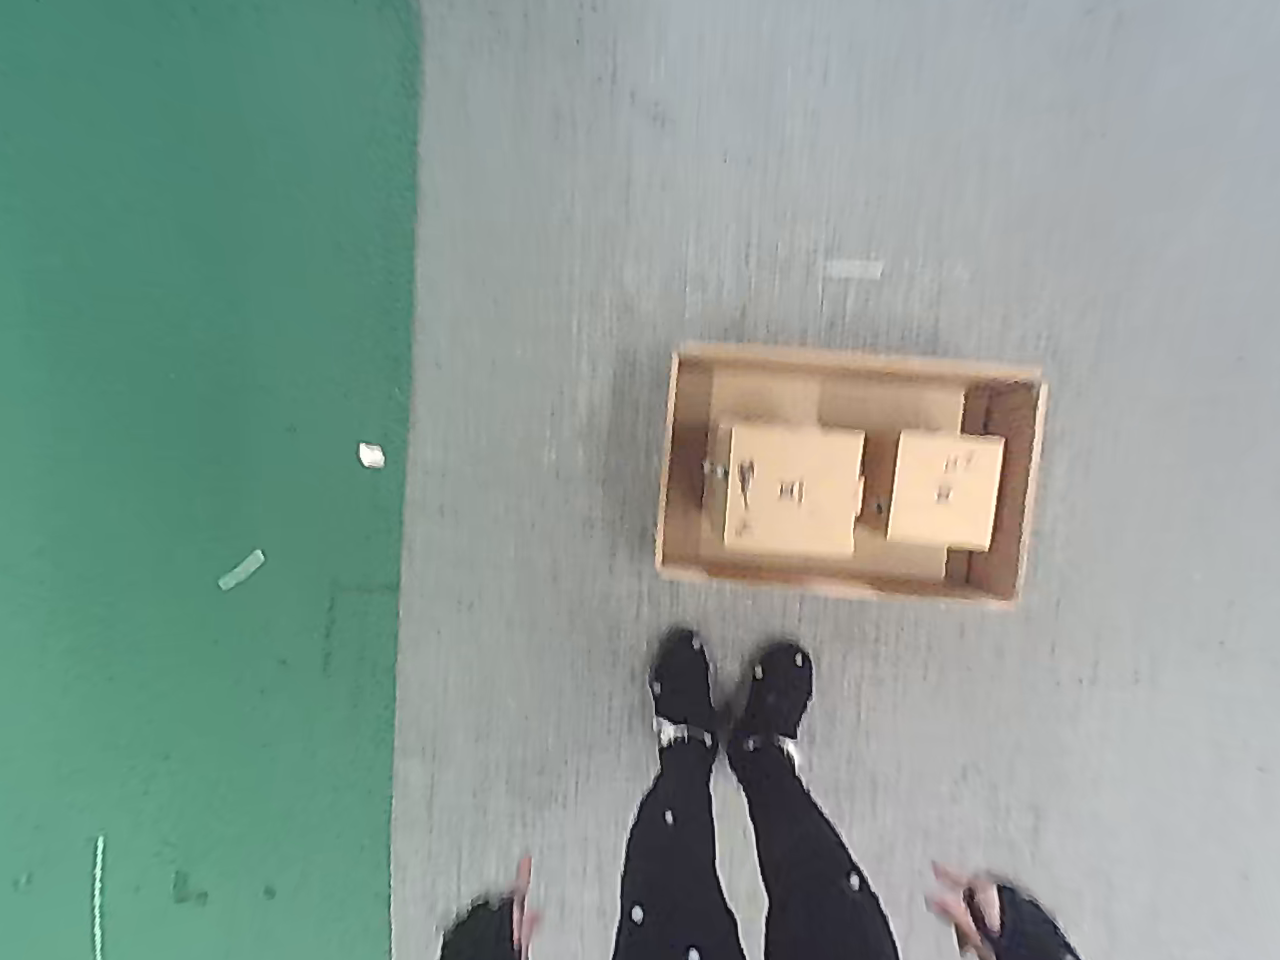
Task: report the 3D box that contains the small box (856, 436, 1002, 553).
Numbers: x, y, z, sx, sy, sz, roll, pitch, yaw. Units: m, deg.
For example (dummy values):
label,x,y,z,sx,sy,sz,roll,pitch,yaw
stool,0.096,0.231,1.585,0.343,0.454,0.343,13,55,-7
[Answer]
label,x,y,z,sx,sy,sz,roll,pitch,yaw
small box,0.493,0.020,0.951,0.168,0.176,0.179,6,92,2

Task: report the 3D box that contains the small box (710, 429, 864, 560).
label,x,y,z,sx,sy,sz,roll,pitch,yaw
small box,0.206,0.017,0.800,0.179,0.176,0.168,4,92,1

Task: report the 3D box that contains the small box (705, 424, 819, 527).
label,x,y,z,sx,sy,sz,roll,pitch,yaw
small box,0.208,-0.001,0.964,0.168,0.176,0.179,5,91,2
